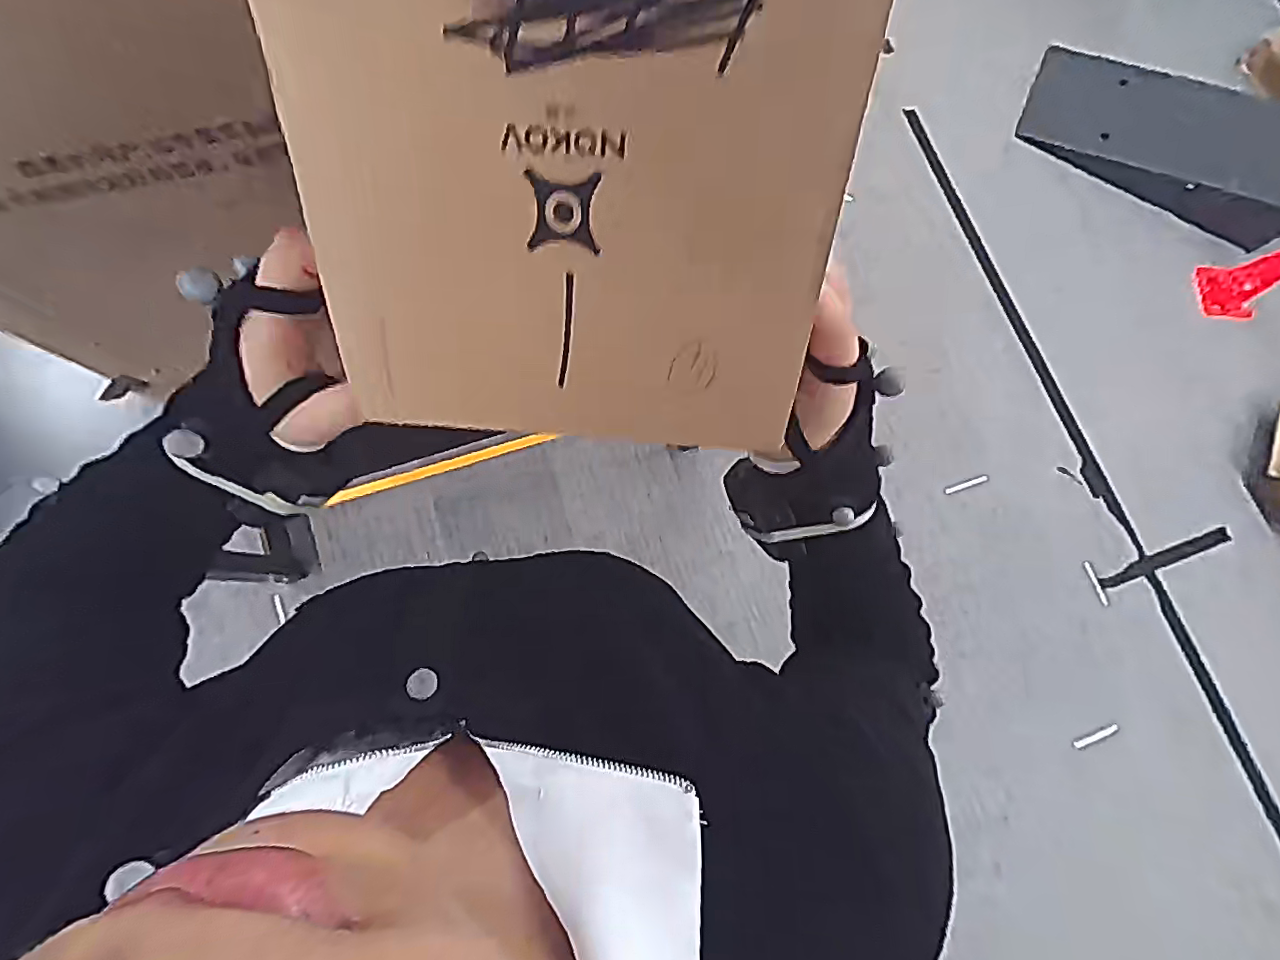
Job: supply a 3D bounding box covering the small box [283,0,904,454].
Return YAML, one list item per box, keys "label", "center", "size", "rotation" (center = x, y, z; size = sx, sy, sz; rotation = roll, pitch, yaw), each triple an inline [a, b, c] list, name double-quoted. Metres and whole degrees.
- label: "small box"
  center: [-0.014, -0.133, 0.233]
  size: [0.168, 0.179, 0.176]
  rotation: [5, 33, 0]
